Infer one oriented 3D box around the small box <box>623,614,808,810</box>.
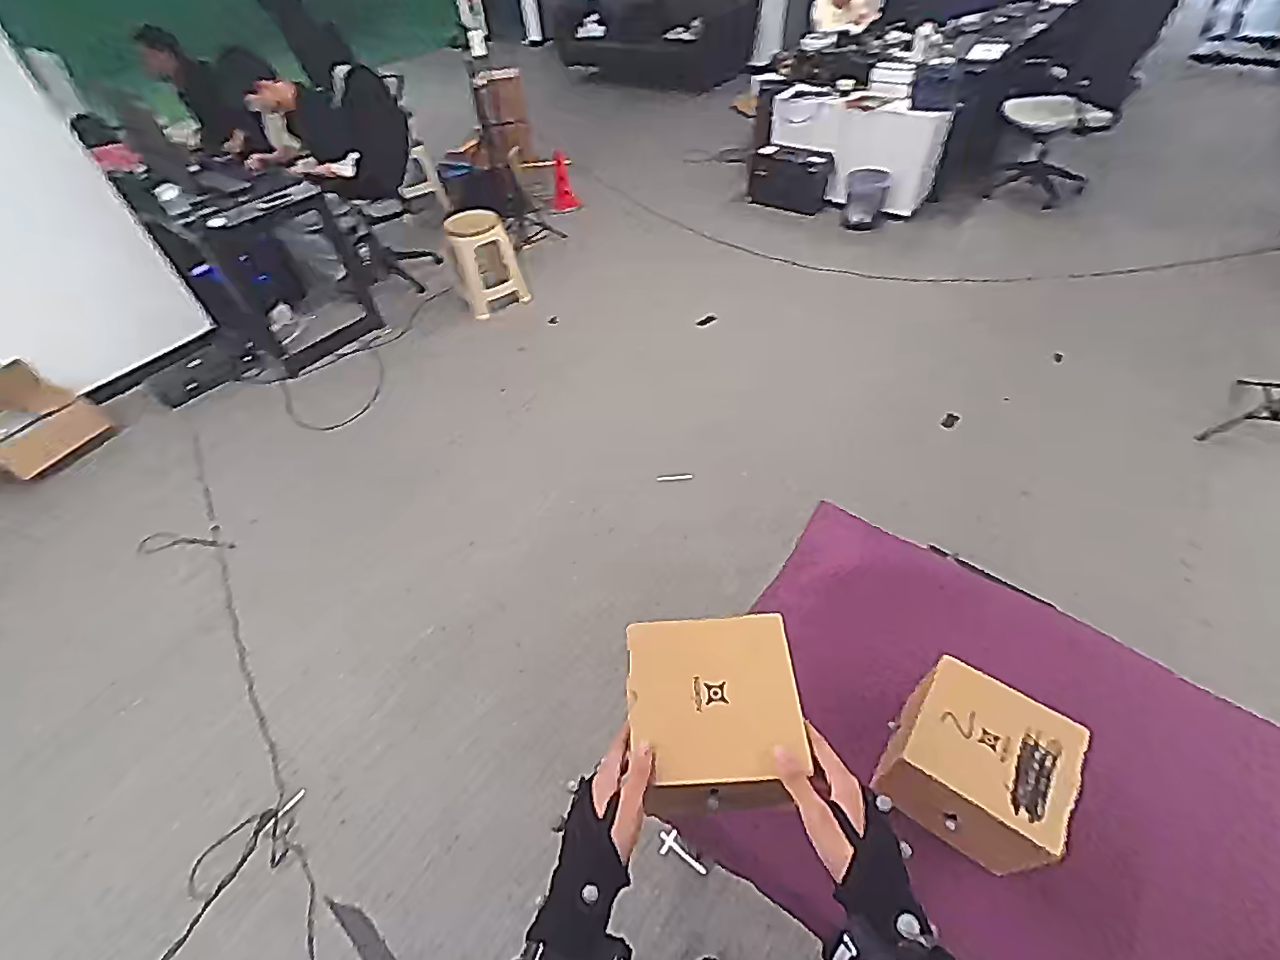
[{"bbox_3d":[0.077,0.270,0.621,0.179,0.176,0.168,-6,51,4],"label":"small box"}]
